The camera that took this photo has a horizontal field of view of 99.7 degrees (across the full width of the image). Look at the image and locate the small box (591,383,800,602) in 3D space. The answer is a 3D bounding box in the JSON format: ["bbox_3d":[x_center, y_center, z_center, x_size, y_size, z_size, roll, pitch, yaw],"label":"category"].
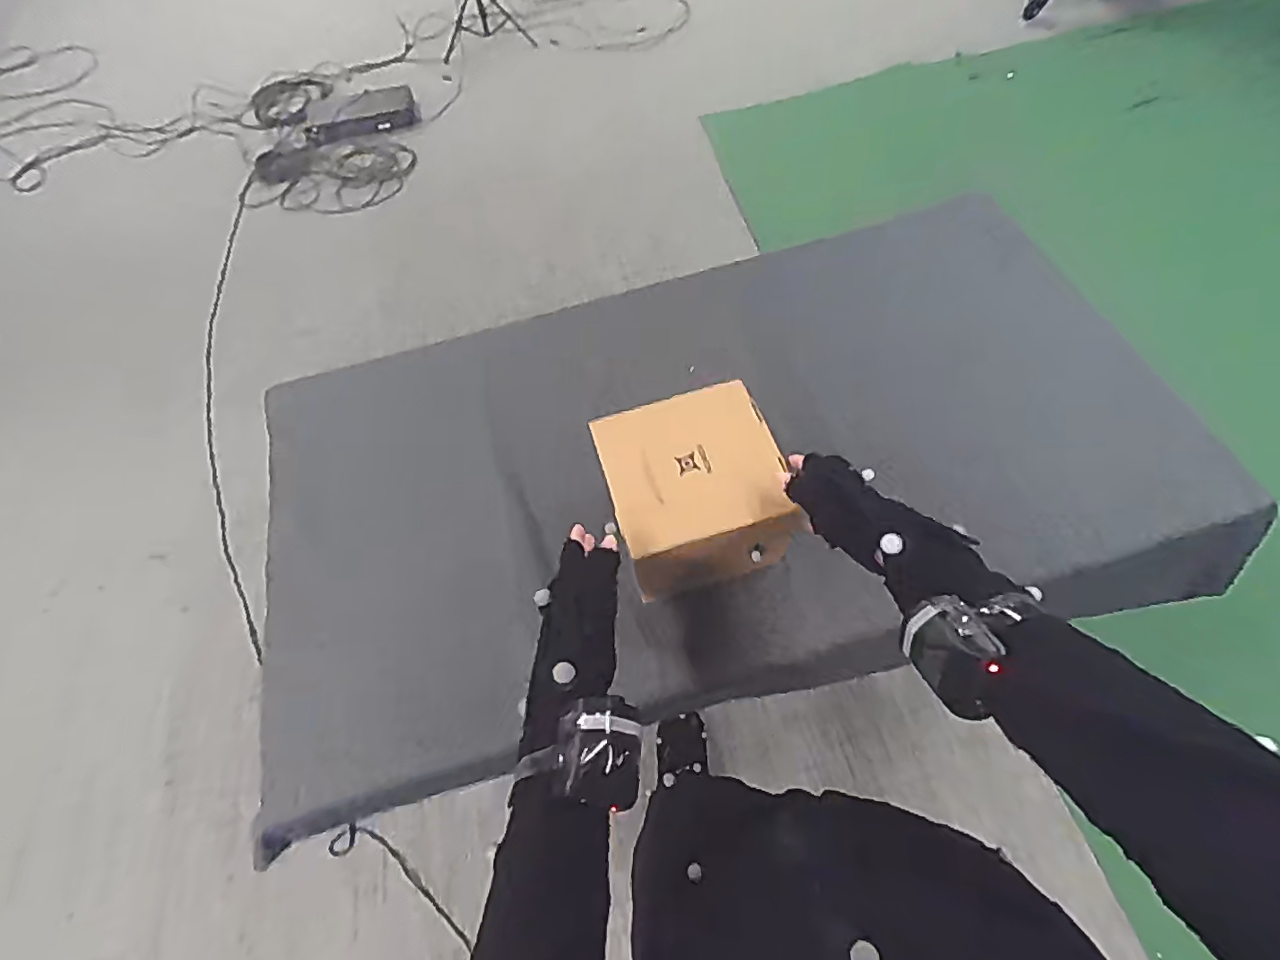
[{"bbox_3d":[0.057,0.022,0.623,0.179,0.176,0.168,-18,62,-3],"label":"small box"}]
